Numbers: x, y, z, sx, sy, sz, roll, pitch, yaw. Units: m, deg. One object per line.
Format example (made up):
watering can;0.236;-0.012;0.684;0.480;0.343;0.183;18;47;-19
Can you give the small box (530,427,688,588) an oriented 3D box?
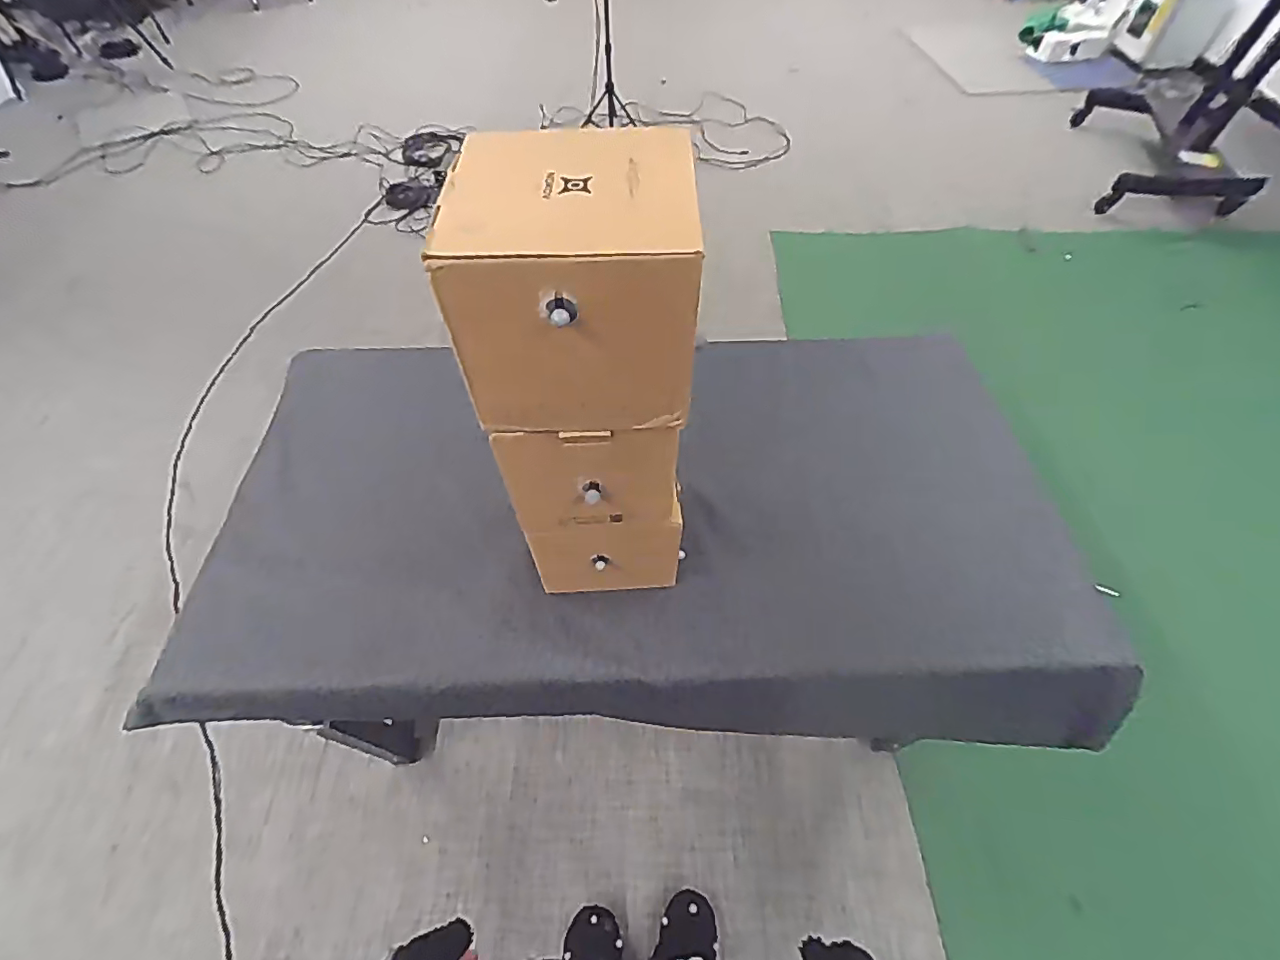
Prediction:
small box;-0.043;0.028;0.701;0.179;0.176;0.168;-4;56;-4

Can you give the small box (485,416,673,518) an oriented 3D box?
small box;-0.053;-0.069;0.570;0.168;0.176;0.179;-2;56;-1

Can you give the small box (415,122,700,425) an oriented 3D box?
small box;-0.049;-0.157;0.433;0.179;0.176;0.168;0;56;-1
